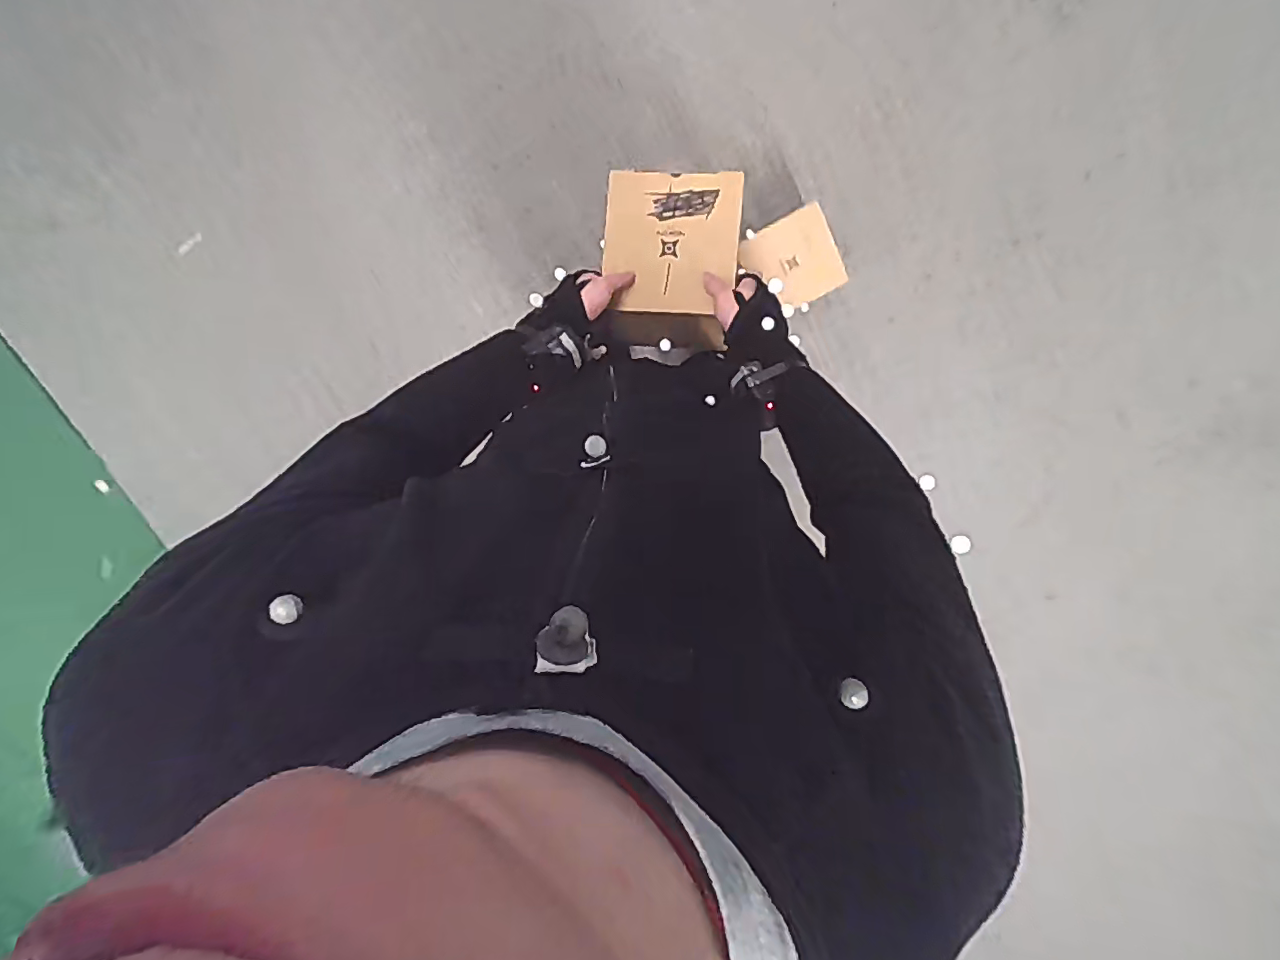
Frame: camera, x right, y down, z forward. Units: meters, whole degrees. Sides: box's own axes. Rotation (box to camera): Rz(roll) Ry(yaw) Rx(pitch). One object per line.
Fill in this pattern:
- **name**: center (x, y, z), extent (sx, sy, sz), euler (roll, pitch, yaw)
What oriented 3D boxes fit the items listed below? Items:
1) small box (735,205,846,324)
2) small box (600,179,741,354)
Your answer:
- **small box**: center (0.307, -0.446, 1.142), extent (0.179, 0.176, 0.168), euler (-25, 104, 17)
- **small box**: center (0.044, -0.284, 0.746), extent (0.168, 0.176, 0.179), euler (4, 90, 7)
